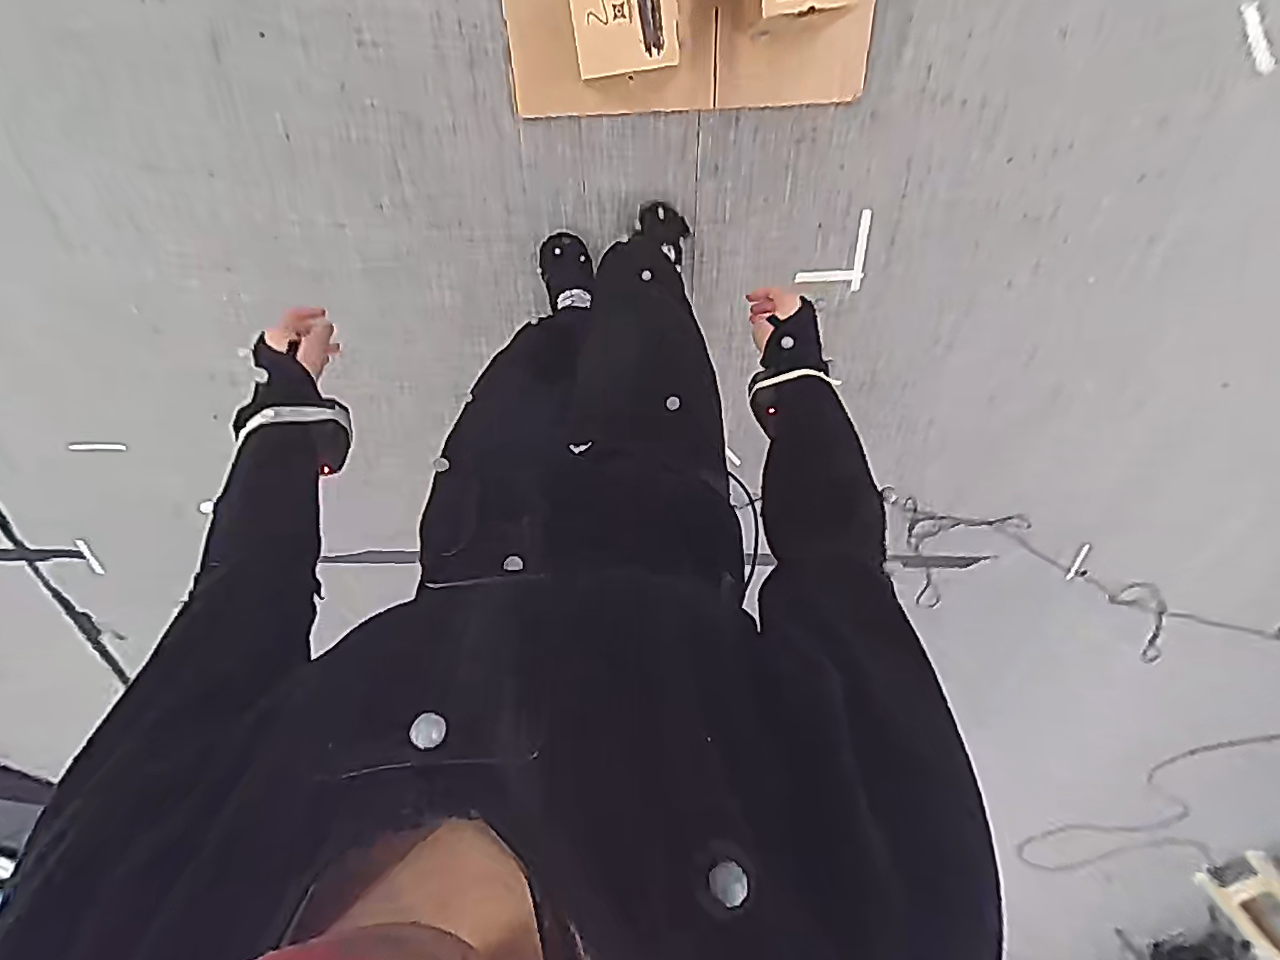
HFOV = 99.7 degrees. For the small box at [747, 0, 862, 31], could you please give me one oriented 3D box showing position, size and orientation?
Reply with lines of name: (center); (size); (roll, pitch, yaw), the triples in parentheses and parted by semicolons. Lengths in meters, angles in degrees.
small box: (0.275, -0.884, 0.911); (0.168, 0.176, 0.179); (-5, 121, 3)
